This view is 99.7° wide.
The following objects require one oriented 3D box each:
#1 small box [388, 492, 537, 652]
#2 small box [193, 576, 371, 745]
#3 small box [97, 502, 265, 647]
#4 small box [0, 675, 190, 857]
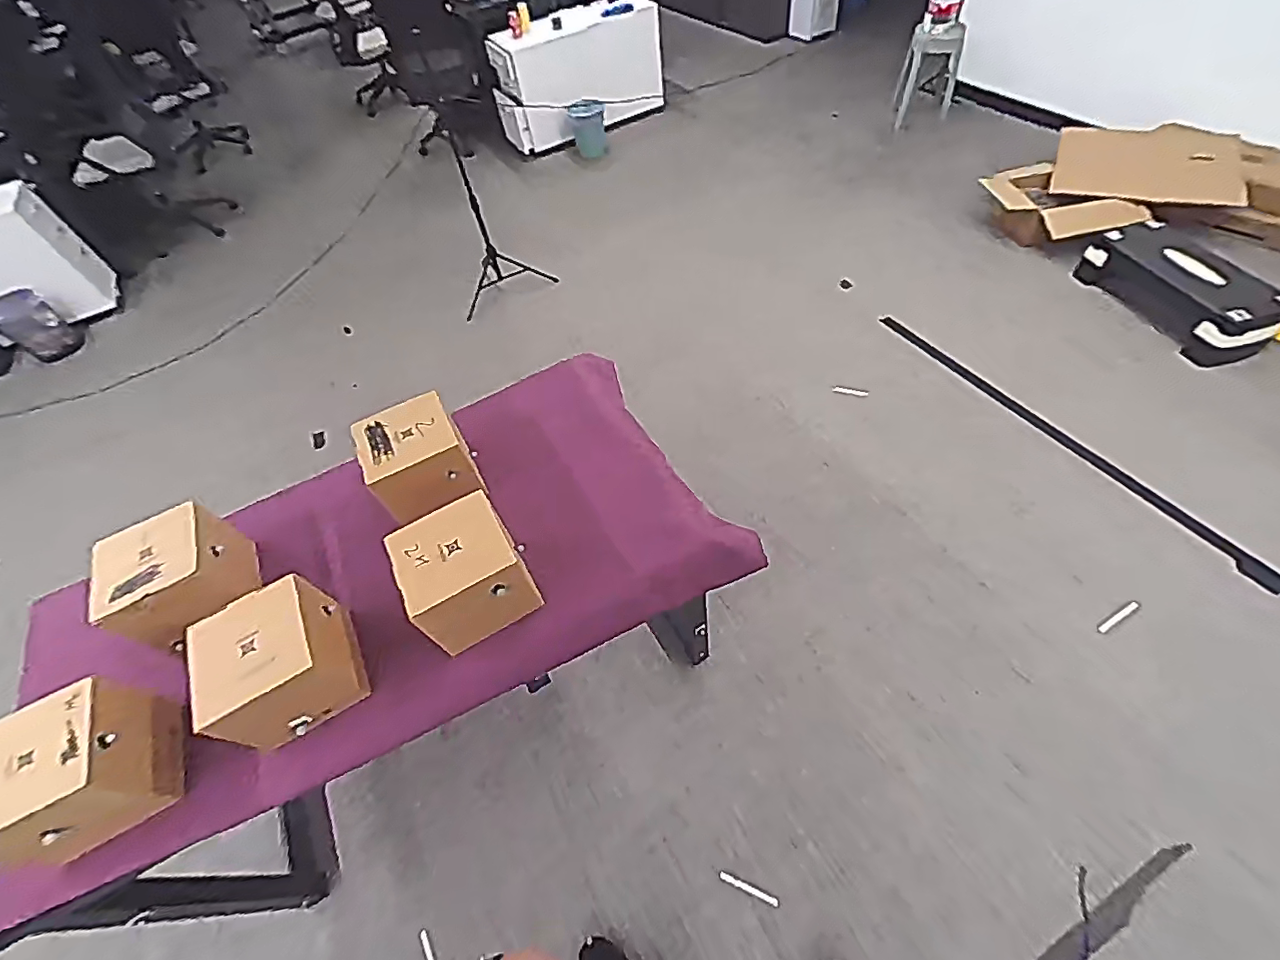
[{"bbox_3d":[-0.289,0.159,0.917,0.179,0.176,0.168,-28,55,-12],"label":"small box"},{"bbox_3d":[-0.563,0.291,0.863,0.168,0.176,0.179,-29,57,-12],"label":"small box"},{"bbox_3d":[-0.816,0.179,0.978,0.168,0.176,0.179,-28,55,-13],"label":"small box"},{"bbox_3d":[-0.819,0.426,0.797,0.179,0.176,0.168,-28,56,-12],"label":"small box"}]
